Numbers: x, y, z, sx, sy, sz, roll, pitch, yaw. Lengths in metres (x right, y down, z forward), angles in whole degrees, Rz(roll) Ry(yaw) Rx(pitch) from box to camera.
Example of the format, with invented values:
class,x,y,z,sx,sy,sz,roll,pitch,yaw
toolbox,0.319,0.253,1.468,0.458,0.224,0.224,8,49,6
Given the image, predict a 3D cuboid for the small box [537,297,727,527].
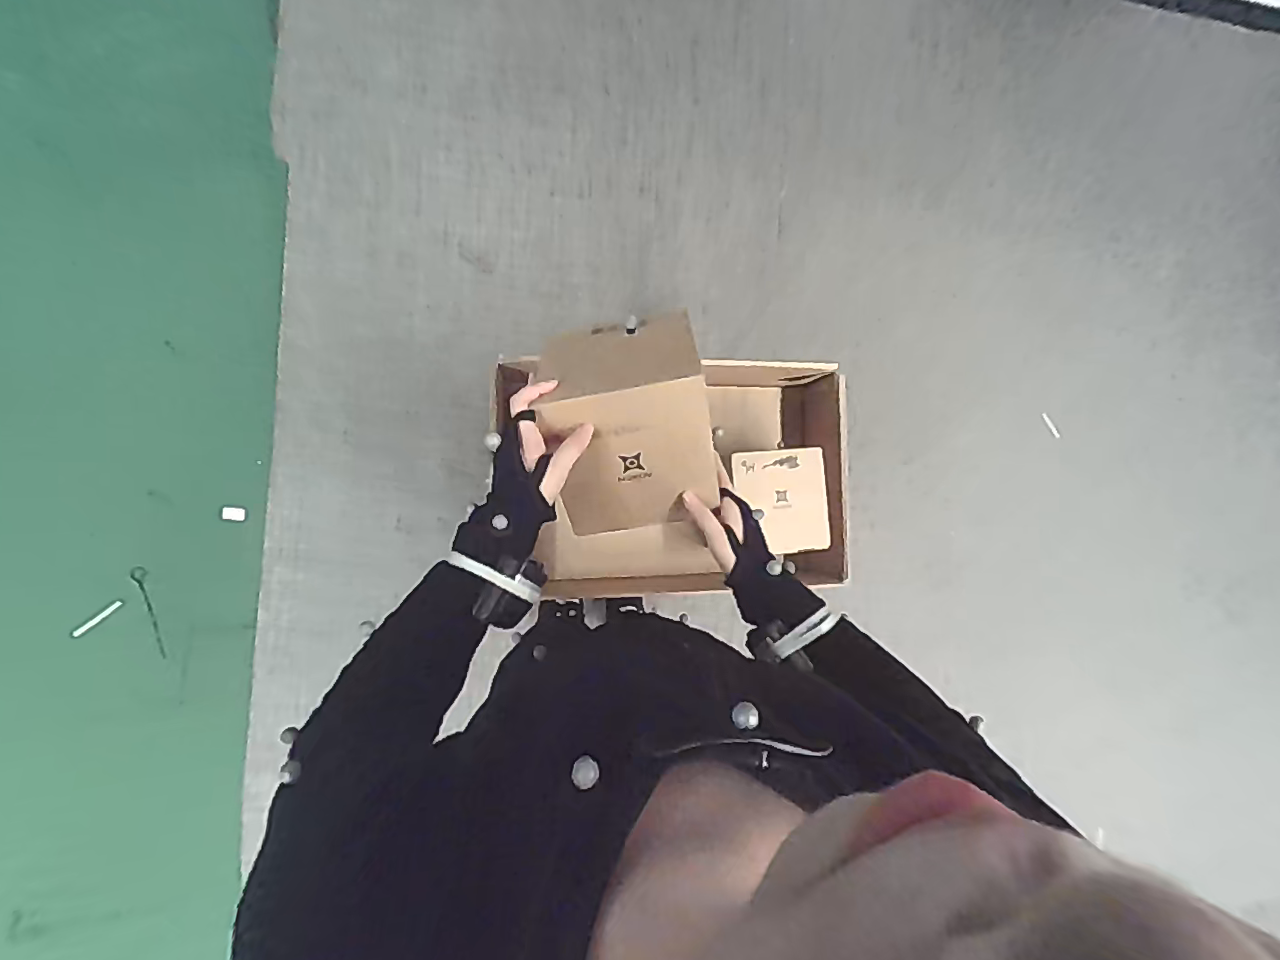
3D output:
class,x,y,z,sx,sy,sz,roll,pitch,yaw
small box,0.000,-0.075,0.598,0.168,0.176,0.179,-9,131,7
